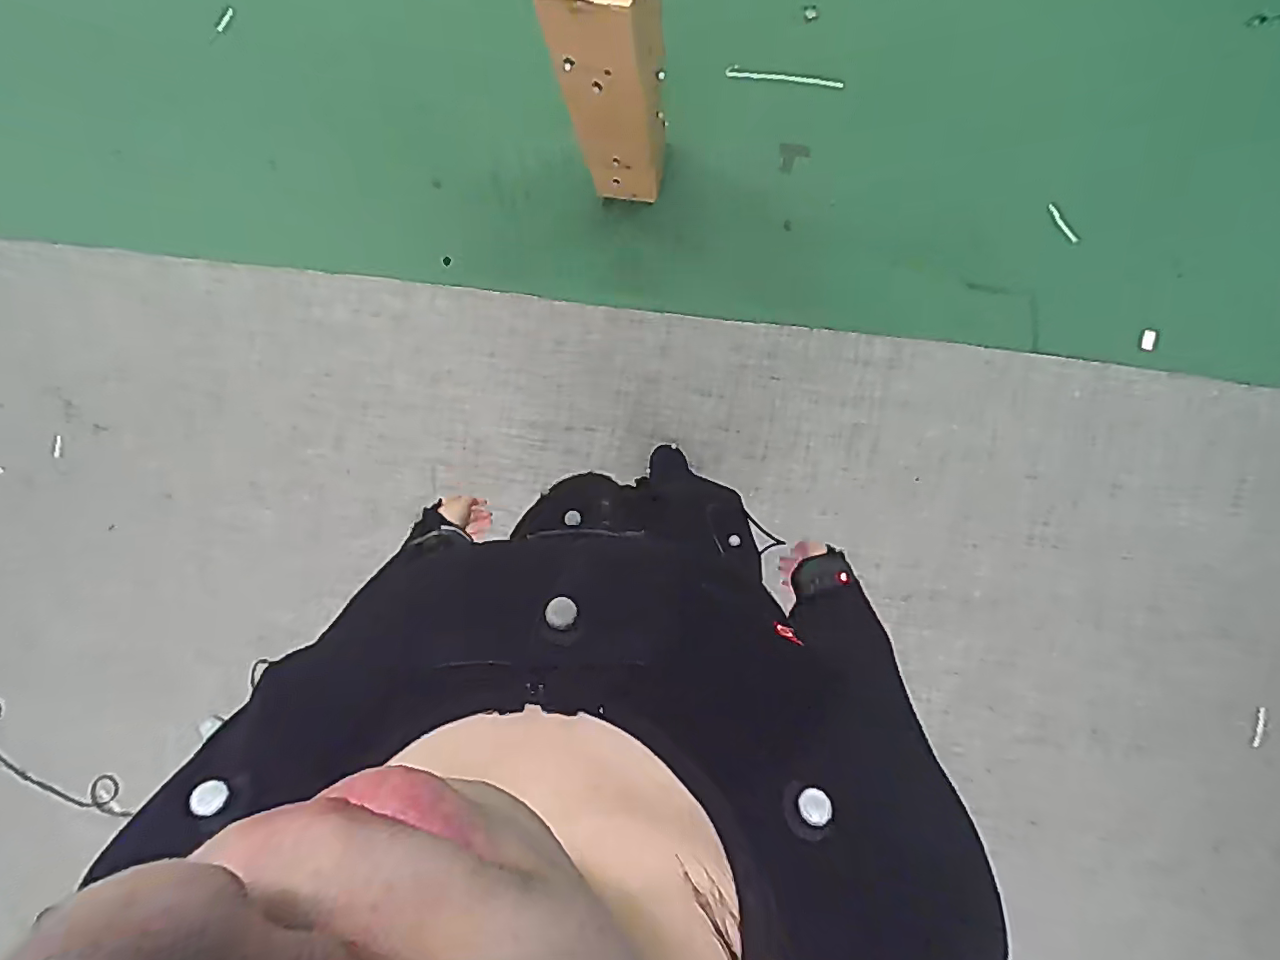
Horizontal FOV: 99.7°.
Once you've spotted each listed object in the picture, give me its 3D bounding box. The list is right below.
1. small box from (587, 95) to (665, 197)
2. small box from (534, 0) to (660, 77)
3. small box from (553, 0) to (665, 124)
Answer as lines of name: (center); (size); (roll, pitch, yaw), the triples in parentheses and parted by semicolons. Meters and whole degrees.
small box: (-0.029, -0.859, 1.394); (0.168, 0.176, 0.179); (9, 92, 4)
small box: (-0.064, -0.824, 0.903); (0.168, 0.176, 0.179); (14, 92, 4)
small box: (-0.053, -0.841, 1.066); (0.179, 0.176, 0.168); (12, 93, 4)
